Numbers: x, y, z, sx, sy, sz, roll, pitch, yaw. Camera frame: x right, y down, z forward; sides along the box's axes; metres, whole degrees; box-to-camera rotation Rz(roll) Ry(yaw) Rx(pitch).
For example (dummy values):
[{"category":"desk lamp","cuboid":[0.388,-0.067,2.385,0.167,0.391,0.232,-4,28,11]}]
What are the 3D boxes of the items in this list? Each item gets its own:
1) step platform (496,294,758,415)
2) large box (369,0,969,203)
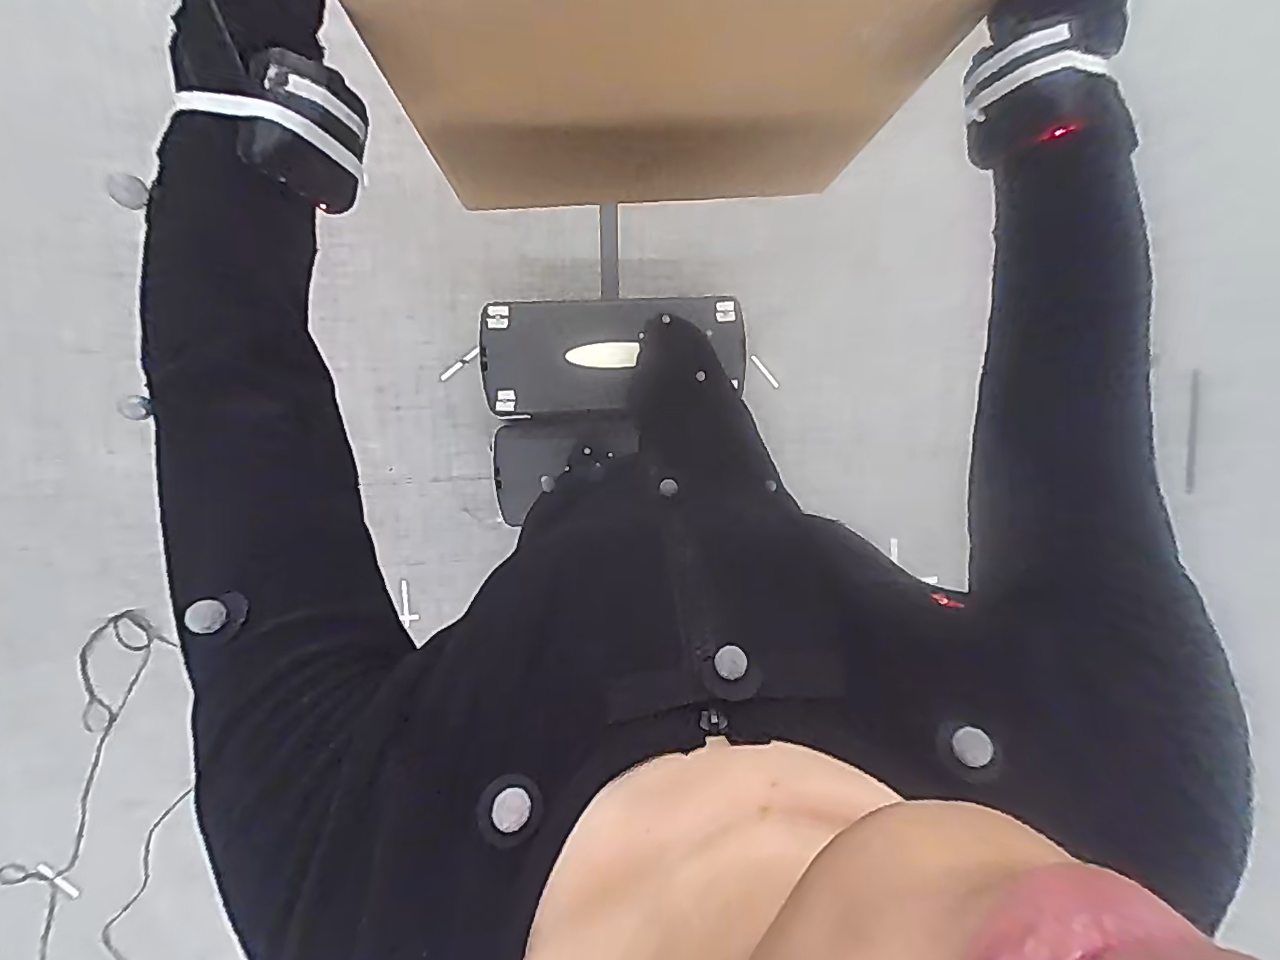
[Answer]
[{"category":"step platform","cuboid":[-0.033,-0.332,1.443,0.684,0.204,0.286,-4,96,-6]},{"category":"large box","cuboid":[0.006,-0.459,0.446,0.408,0.320,0.320,-5,96,-5]}]
